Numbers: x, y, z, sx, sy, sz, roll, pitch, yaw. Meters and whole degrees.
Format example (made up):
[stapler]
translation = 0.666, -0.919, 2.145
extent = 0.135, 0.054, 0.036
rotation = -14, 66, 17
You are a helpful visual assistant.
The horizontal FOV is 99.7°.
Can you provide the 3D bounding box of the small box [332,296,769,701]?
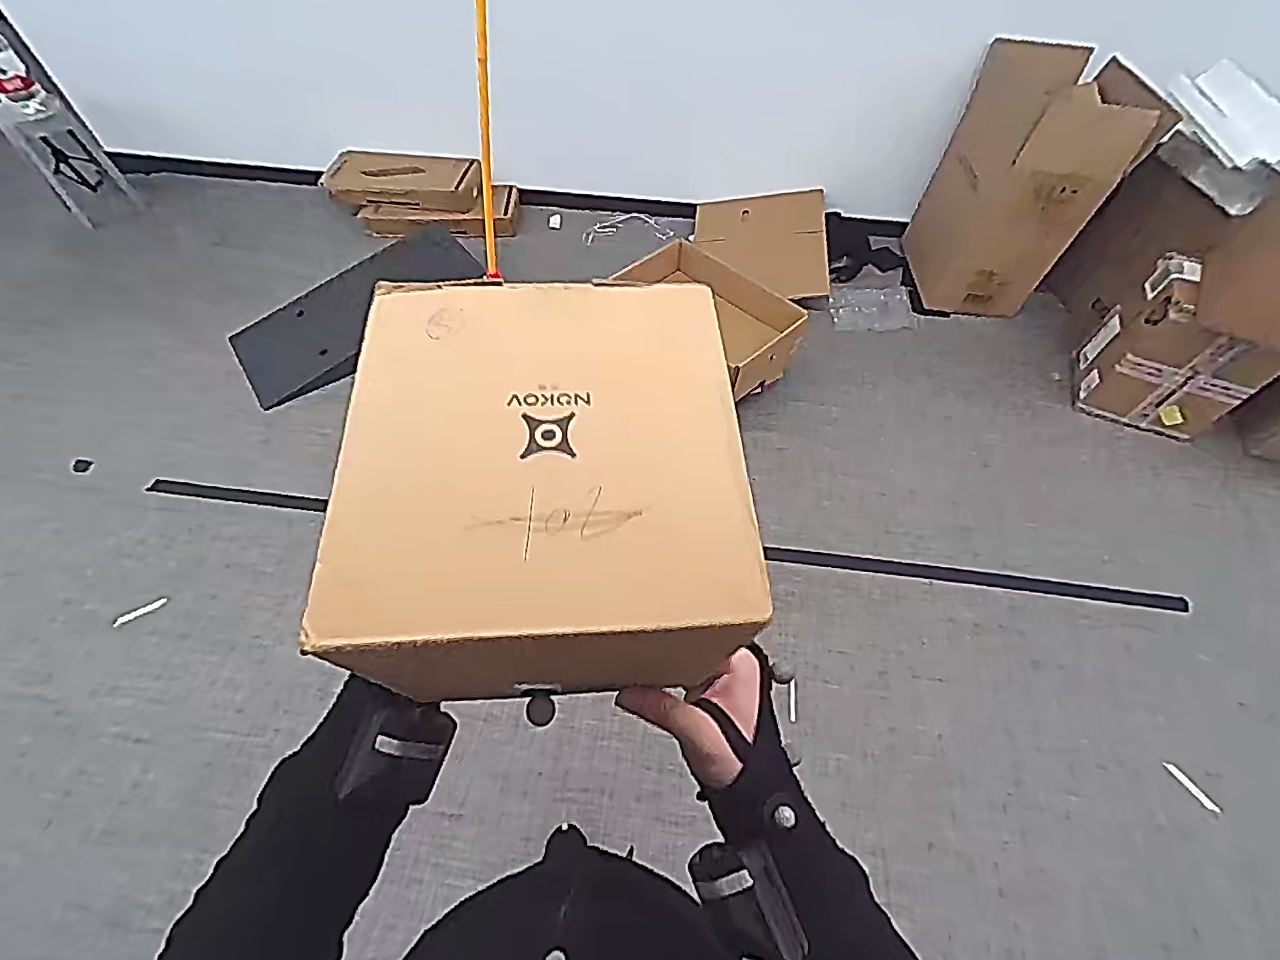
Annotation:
[small box]
translation = -0.043, 0.019, 0.311
extent = 0.168, 0.176, 0.179
rotation = -3, 62, -6
